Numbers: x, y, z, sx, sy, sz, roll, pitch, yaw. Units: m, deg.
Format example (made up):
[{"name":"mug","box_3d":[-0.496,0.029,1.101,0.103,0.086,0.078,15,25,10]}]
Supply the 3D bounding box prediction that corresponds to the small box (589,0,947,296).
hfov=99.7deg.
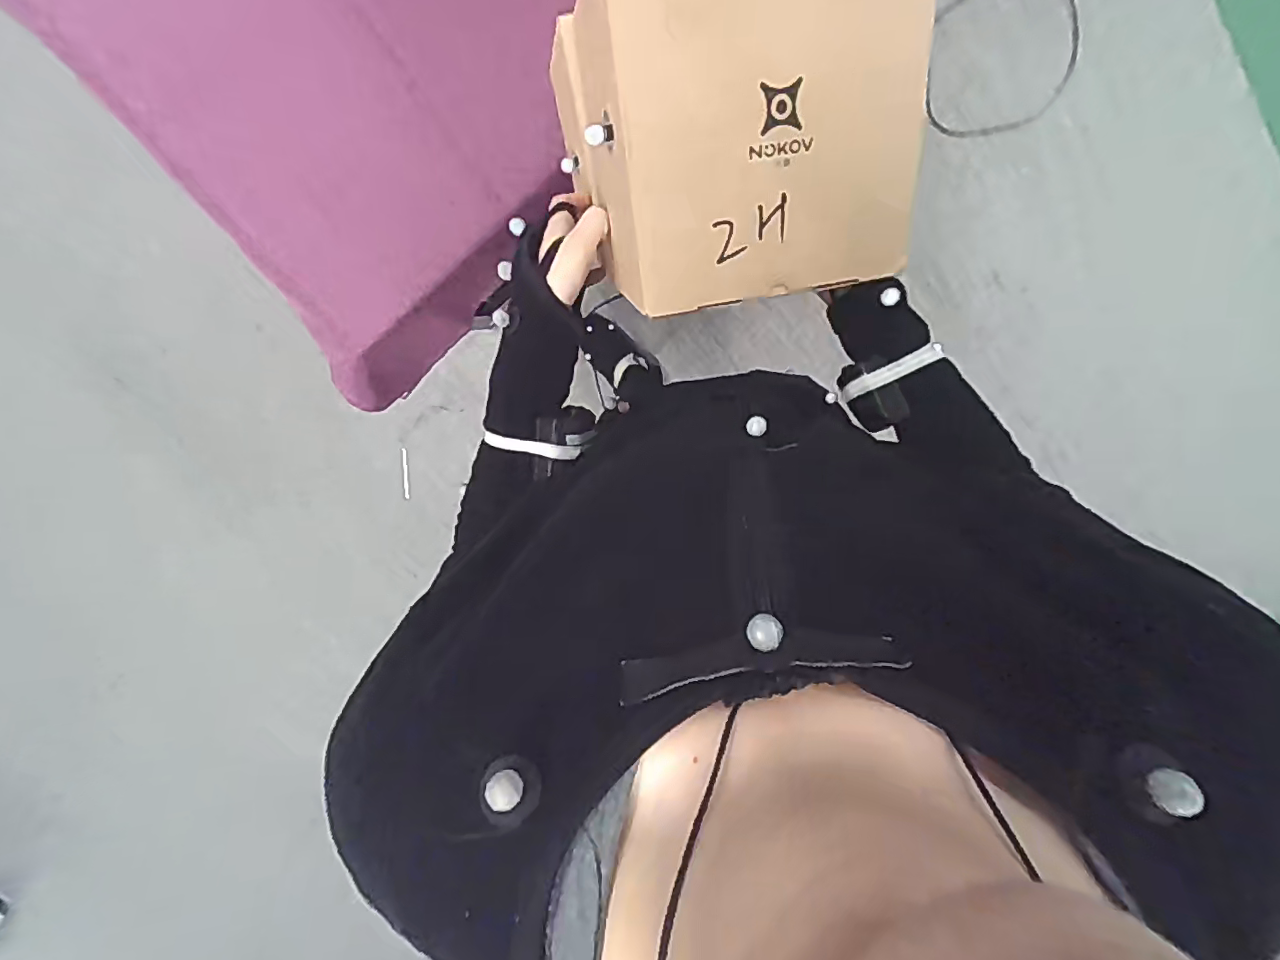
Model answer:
[{"name":"small box","box_3d":[0.062,-0.228,0.350,0.168,0.176,0.179,-9,118,-6]}]
